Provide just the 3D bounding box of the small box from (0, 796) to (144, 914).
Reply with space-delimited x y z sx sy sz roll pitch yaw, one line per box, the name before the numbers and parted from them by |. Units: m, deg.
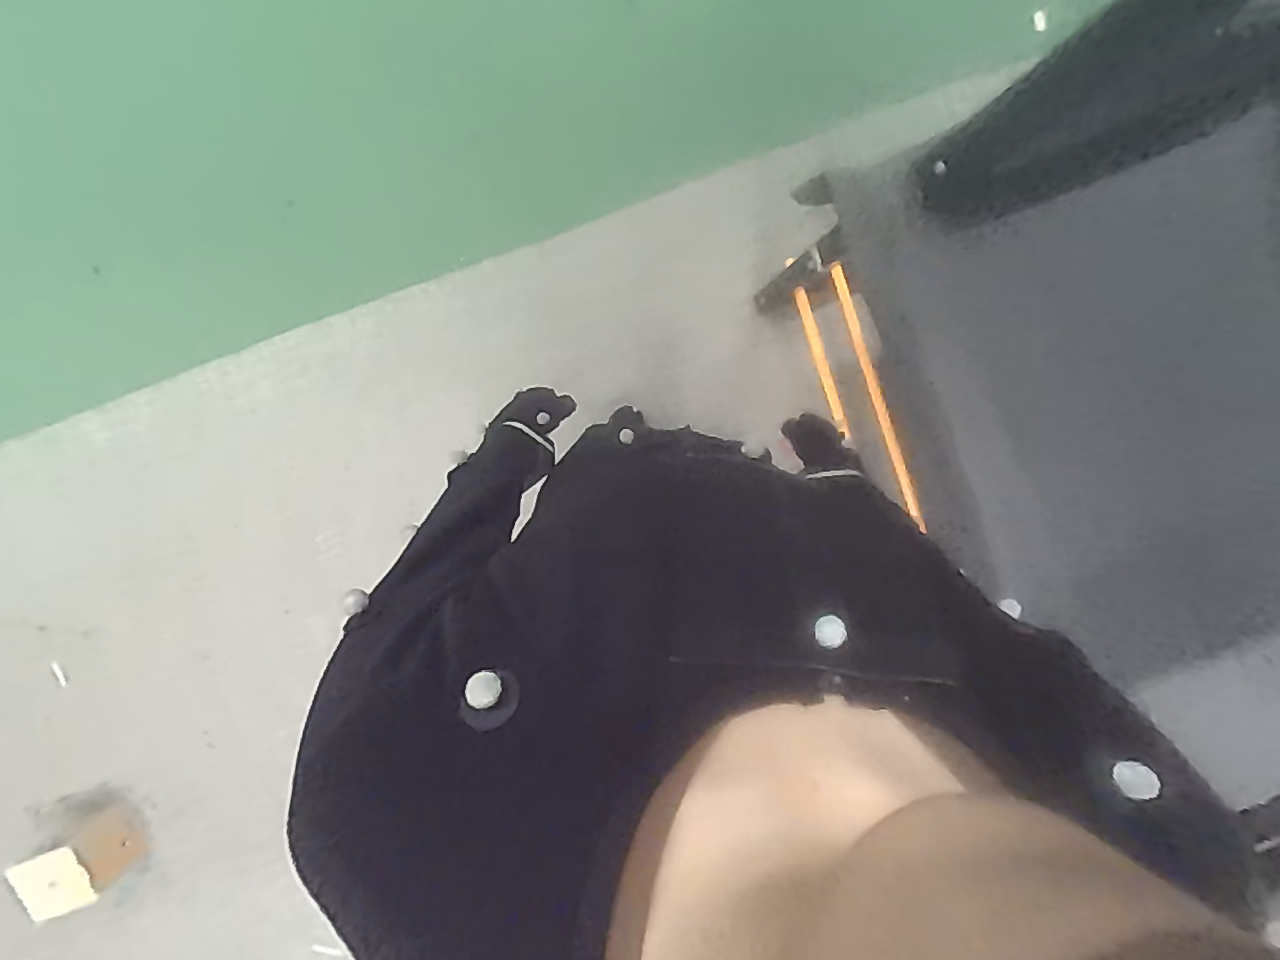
small box | -1.499 0.988 1.437 0.179 0.176 0.168 -20 97 0
